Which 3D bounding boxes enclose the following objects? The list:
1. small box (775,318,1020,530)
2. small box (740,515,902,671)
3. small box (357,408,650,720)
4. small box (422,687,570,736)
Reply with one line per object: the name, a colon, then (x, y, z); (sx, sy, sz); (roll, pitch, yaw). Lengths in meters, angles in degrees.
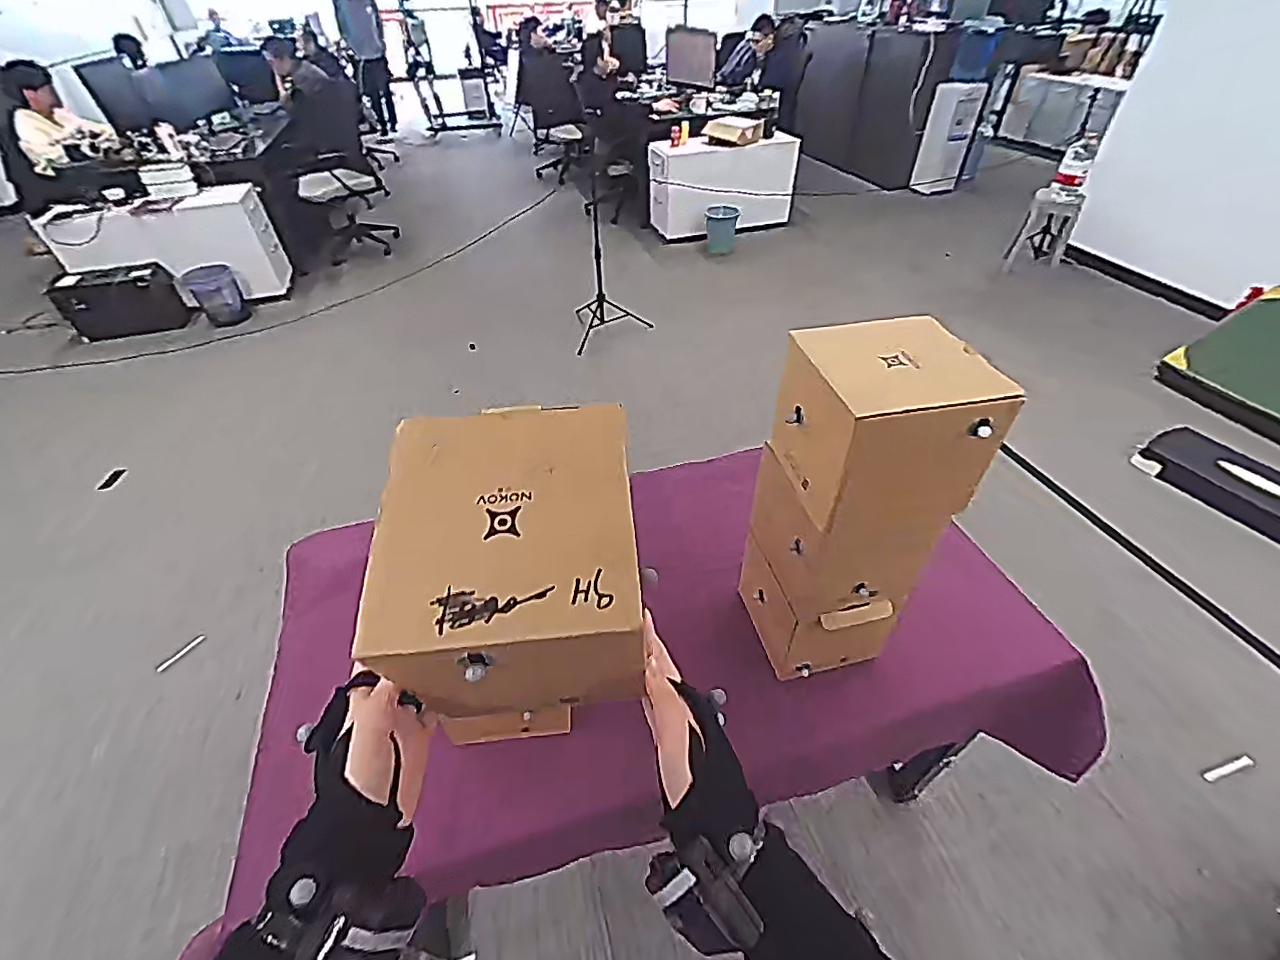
small box: (0.264, -0.061, 0.610); (0.179, 0.176, 0.168); (-8, 44, -7)
small box: (0.264, 0.174, 0.836); (0.168, 0.176, 0.179); (-10, 43, -9)
small box: (-0.082, 0.069, 0.415); (0.168, 0.176, 0.179); (-5, 55, -1)
small box: (-0.190, 0.249, 0.775); (0.168, 0.176, 0.179); (-4, 43, -3)
